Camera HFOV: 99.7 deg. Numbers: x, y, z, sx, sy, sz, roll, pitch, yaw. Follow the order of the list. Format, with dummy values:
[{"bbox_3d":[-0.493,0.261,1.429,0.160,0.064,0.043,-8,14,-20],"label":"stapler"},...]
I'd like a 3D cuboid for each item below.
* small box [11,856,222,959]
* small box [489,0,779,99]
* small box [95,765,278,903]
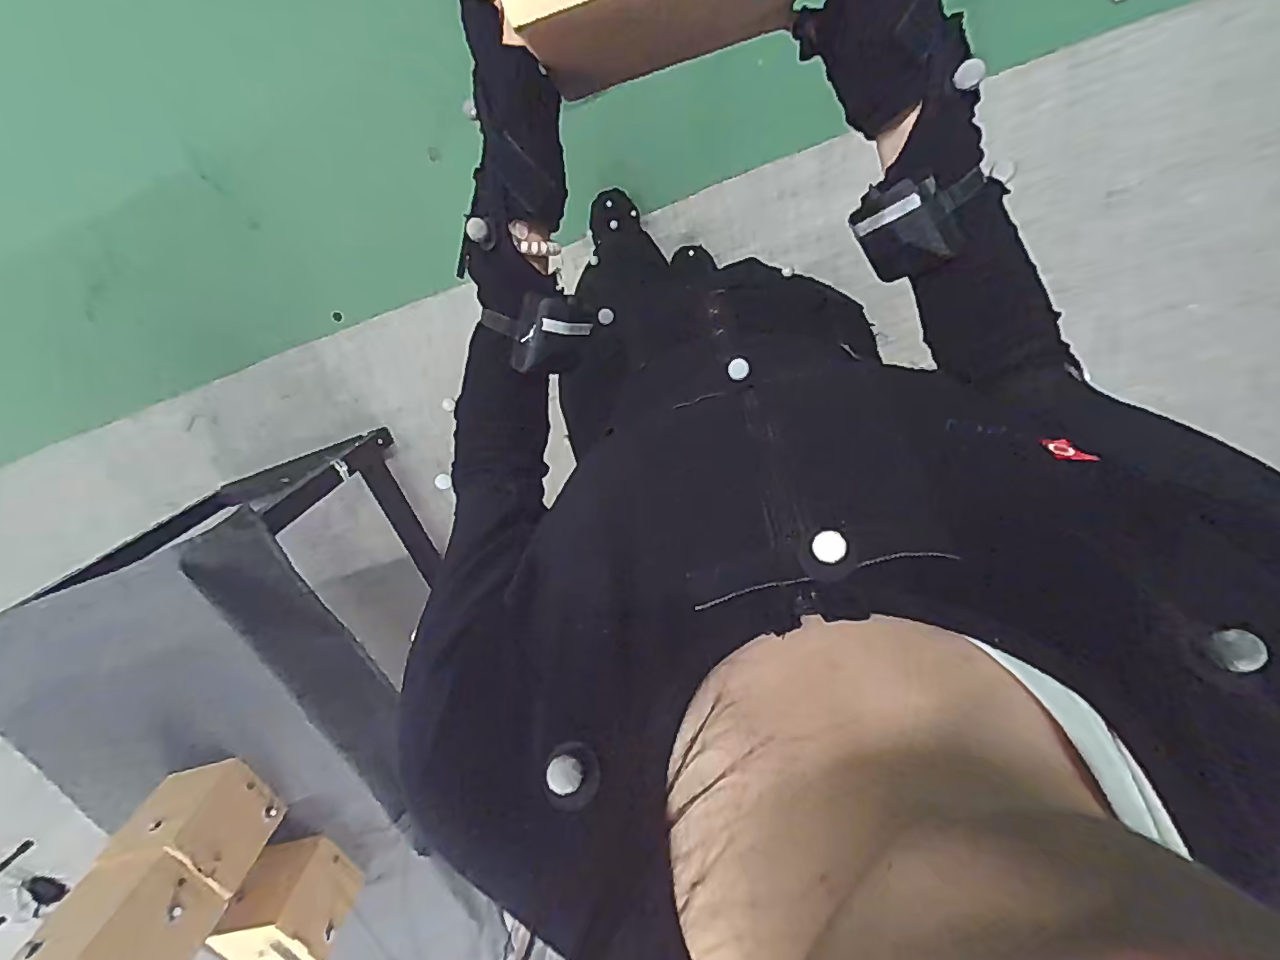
[{"bbox_3d":[-0.844,0.751,0.874,0.179,0.176,0.168,-20,112,10],"label":"small box"},{"bbox_3d":[-0.007,-0.352,0.309,0.179,0.176,0.168,-14,112,8],"label":"small box"},{"bbox_3d":[-0.828,0.668,1.015,0.179,0.176,0.168,-18,112,11],"label":"small box"}]
